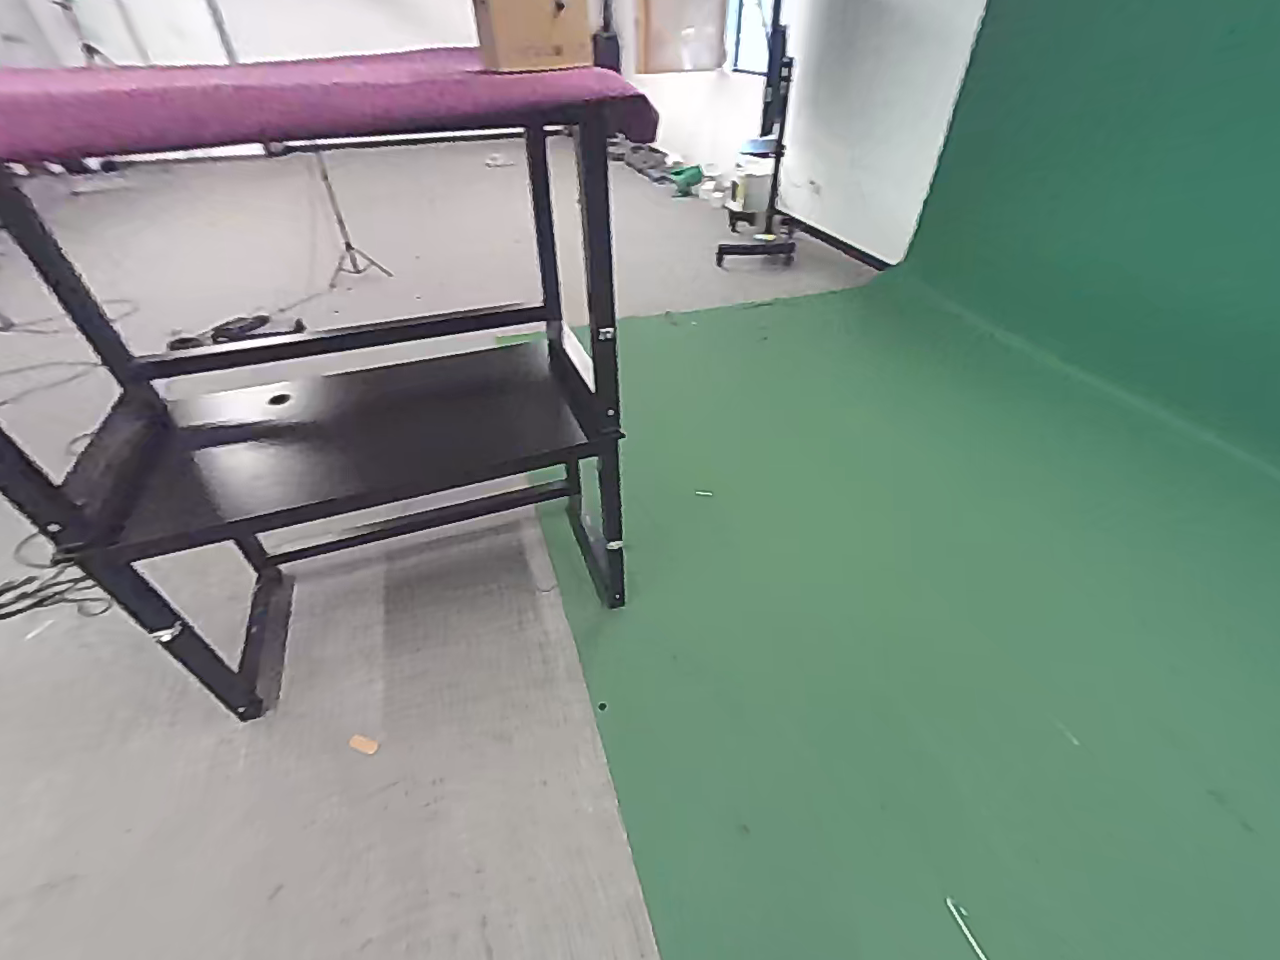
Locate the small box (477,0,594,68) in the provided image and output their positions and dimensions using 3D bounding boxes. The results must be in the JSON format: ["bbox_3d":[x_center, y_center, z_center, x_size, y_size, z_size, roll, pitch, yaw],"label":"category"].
[{"bbox_3d":[-0.182,-0.813,0.920,0.168,0.176,0.179,-14,40,-16],"label":"small box"}]
